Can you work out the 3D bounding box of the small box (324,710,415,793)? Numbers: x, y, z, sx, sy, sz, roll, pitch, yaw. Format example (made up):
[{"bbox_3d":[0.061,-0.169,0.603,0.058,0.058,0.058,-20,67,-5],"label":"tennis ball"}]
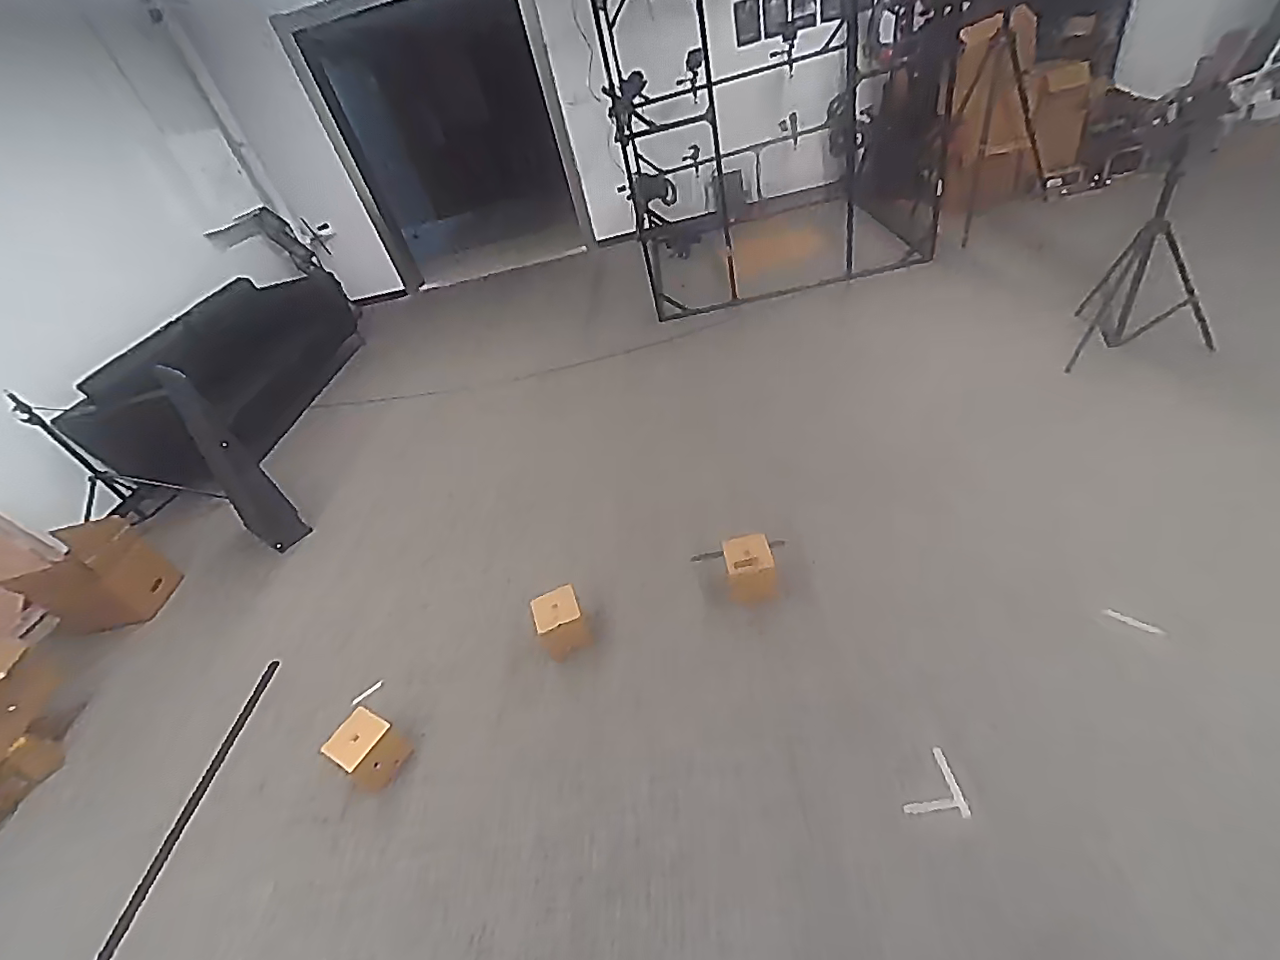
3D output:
[{"bbox_3d":[-0.890,0.906,1.795,0.179,0.176,0.168,10,46,31],"label":"small box"}]

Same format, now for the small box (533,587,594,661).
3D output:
[{"bbox_3d":[-0.286,0.540,2.028,0.168,0.176,0.179,-23,38,-7],"label":"small box"}]
